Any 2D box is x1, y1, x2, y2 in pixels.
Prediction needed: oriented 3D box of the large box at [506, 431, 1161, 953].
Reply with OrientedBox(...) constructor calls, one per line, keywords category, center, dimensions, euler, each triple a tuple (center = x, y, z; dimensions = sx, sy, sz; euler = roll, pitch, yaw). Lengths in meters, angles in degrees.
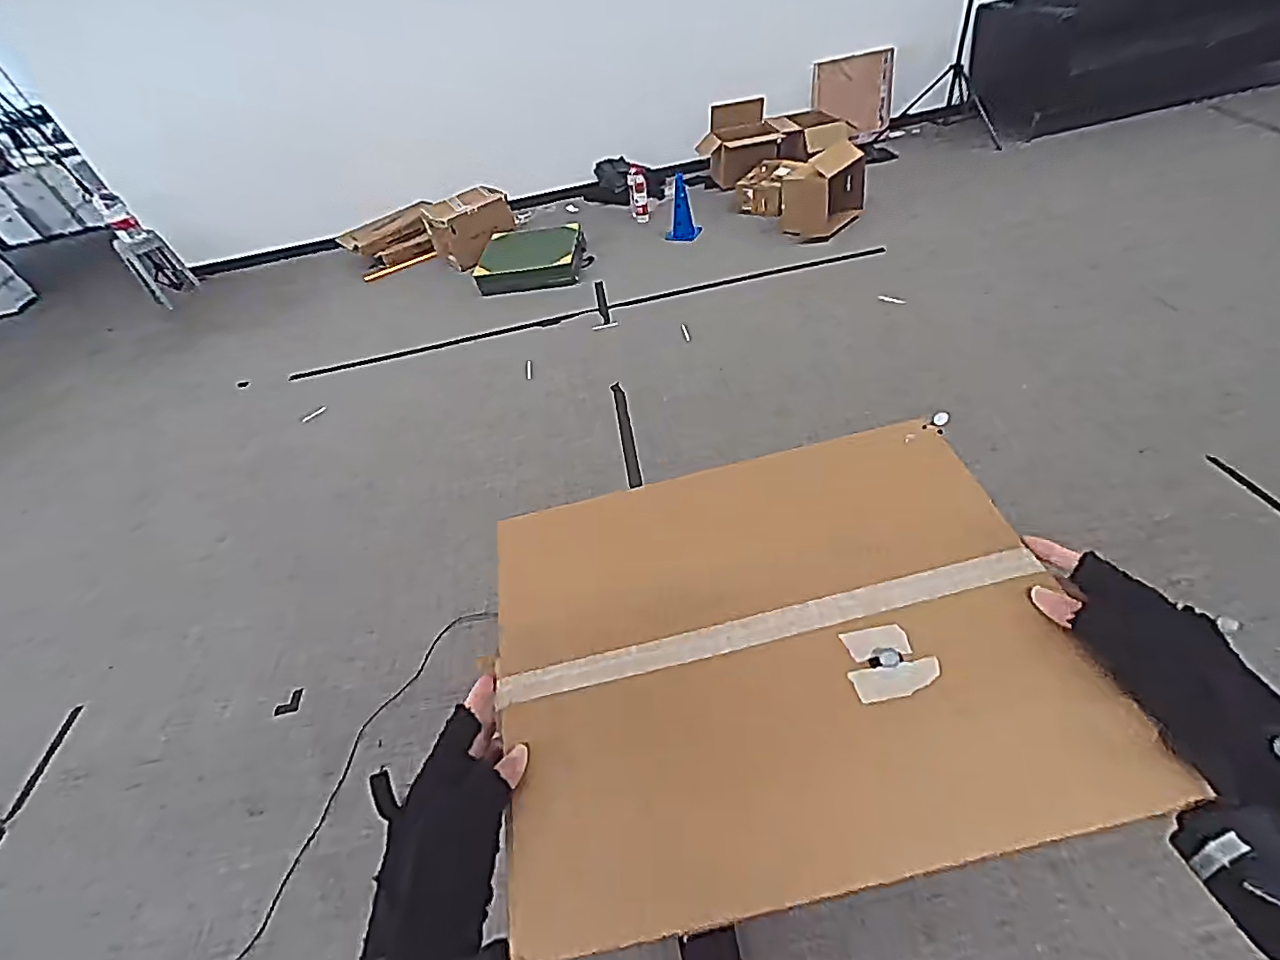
OrientedBox(category="large box", center=(0.116, 0.207, 0.530), dimensions=(0.408, 0.320, 0.320), euler=(-14, 52, -1))
